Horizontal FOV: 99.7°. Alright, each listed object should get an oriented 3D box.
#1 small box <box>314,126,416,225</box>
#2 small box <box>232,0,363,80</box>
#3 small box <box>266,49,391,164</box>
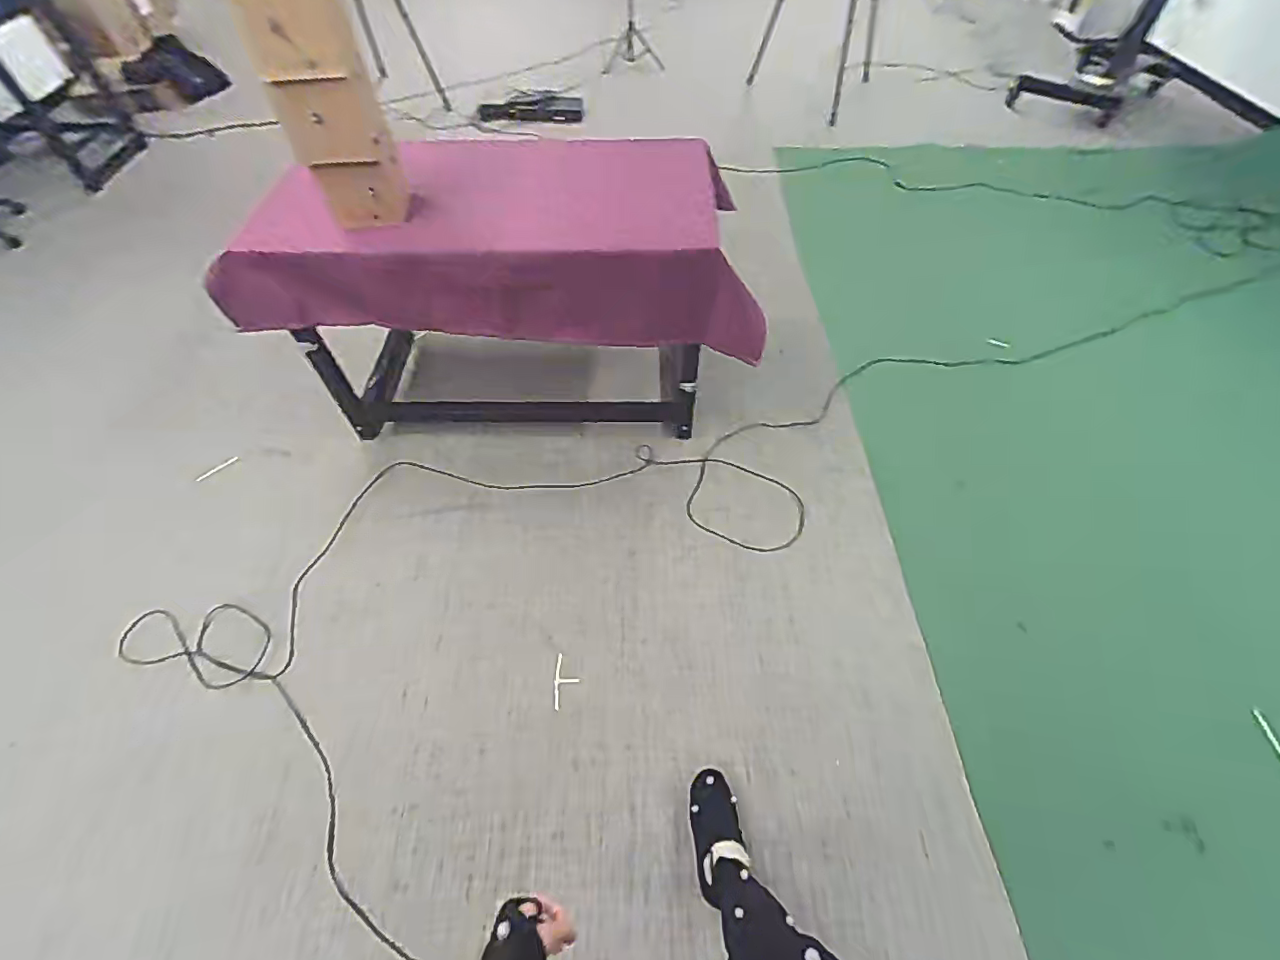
[{"bbox_3d":[-0.682,-0.761,1.364,0.168,0.176,0.179,-5,54,-4],"label":"small box"},{"bbox_3d":[-0.676,-0.922,1.078,0.168,0.176,0.179,-8,54,-6],"label":"small box"},{"bbox_3d":[-0.685,-0.836,1.216,0.179,0.176,0.168,-6,54,-4],"label":"small box"}]
